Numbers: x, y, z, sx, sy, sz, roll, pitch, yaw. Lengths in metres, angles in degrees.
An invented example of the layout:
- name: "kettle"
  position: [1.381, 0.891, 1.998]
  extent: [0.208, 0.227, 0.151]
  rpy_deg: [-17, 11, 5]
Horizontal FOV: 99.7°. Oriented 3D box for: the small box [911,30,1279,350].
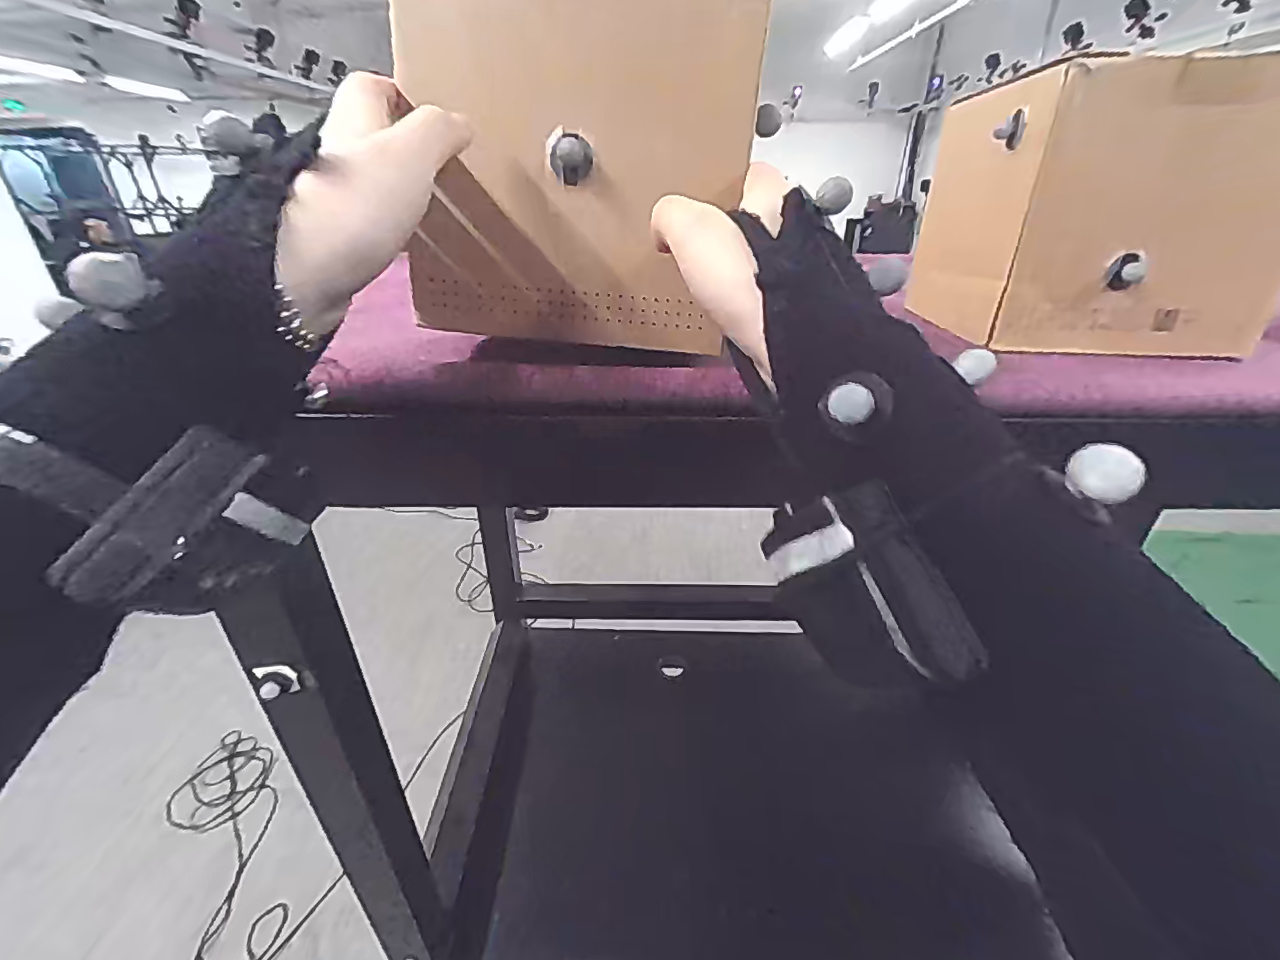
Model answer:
- name: "small box"
  position: [0.324, -0.202, 0.397]
  extent: [0.168, 0.176, 0.179]
  rpy_deg: [2, 28, 5]
